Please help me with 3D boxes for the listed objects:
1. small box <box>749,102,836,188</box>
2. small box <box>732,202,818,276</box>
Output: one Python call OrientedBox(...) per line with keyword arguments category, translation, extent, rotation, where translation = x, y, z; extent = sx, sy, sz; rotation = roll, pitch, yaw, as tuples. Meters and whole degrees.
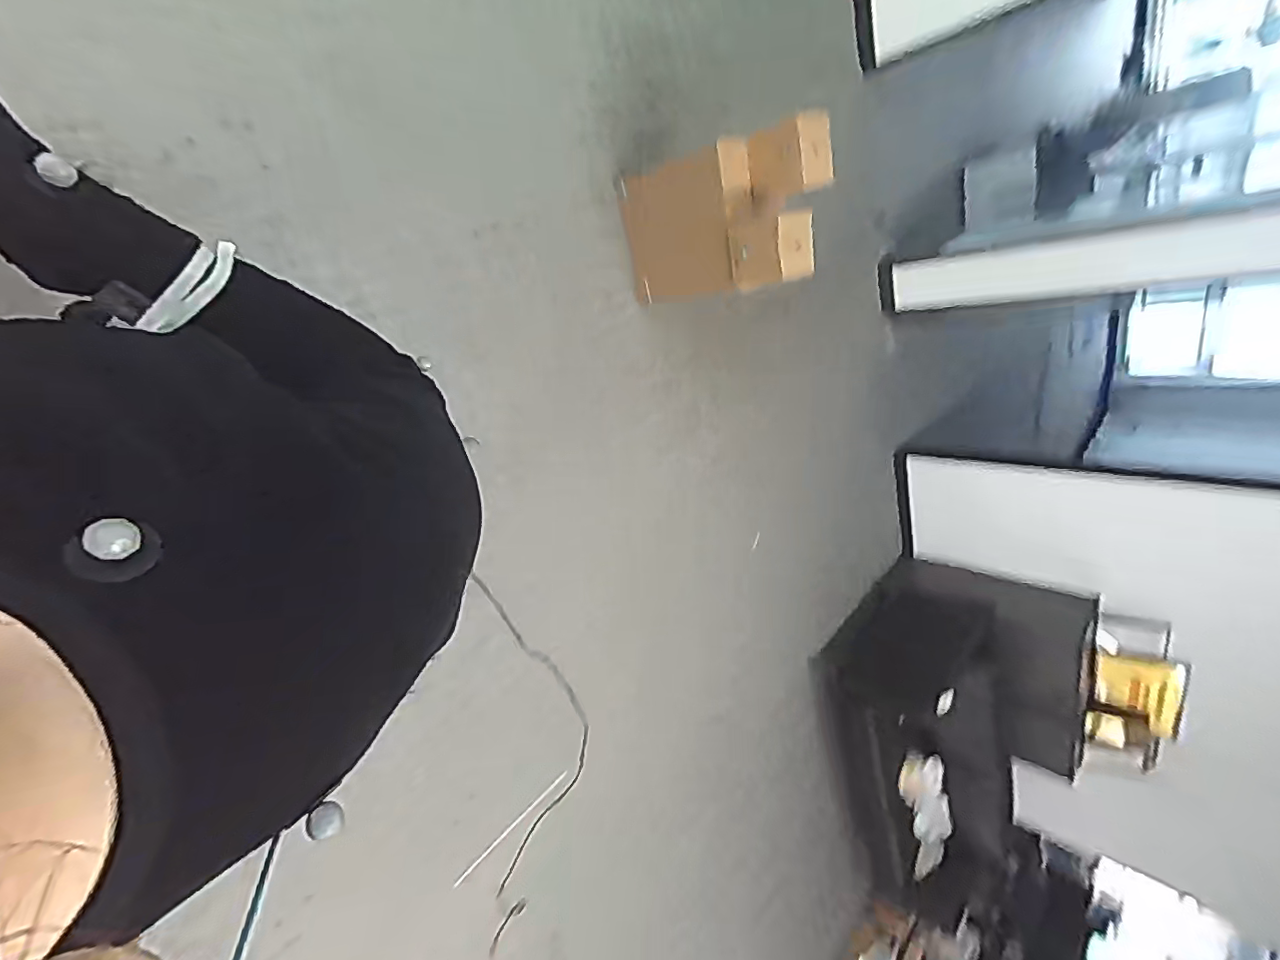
OrientedBox(category="small box", translation=(0.433, -0.946, 1.538), extent=(0.168, 0.176, 0.179), rotation=(-30, 117, -35))
OrientedBox(category="small box", translation=(0.386, -0.687, 1.547), extent=(0.179, 0.176, 0.168), rotation=(-27, 116, -36))
